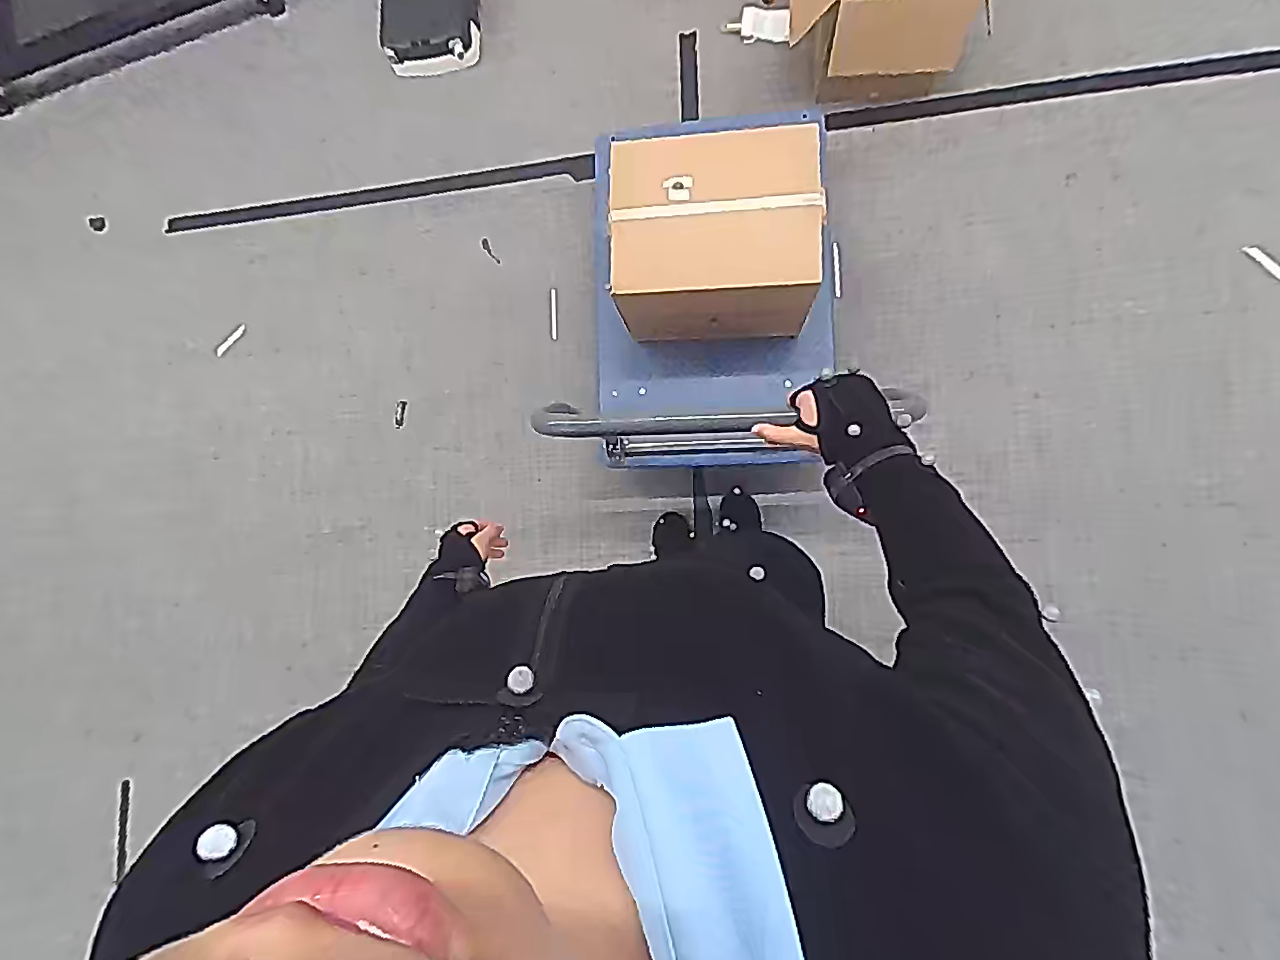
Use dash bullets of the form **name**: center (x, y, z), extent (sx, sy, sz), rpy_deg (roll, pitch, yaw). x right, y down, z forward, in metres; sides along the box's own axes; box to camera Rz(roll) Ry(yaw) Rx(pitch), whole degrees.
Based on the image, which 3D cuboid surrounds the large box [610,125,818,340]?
- **large box**: center (0.163, -0.517, 1.206), extent (0.408, 0.320, 0.320), rpy_deg (-1, 86, 9)
